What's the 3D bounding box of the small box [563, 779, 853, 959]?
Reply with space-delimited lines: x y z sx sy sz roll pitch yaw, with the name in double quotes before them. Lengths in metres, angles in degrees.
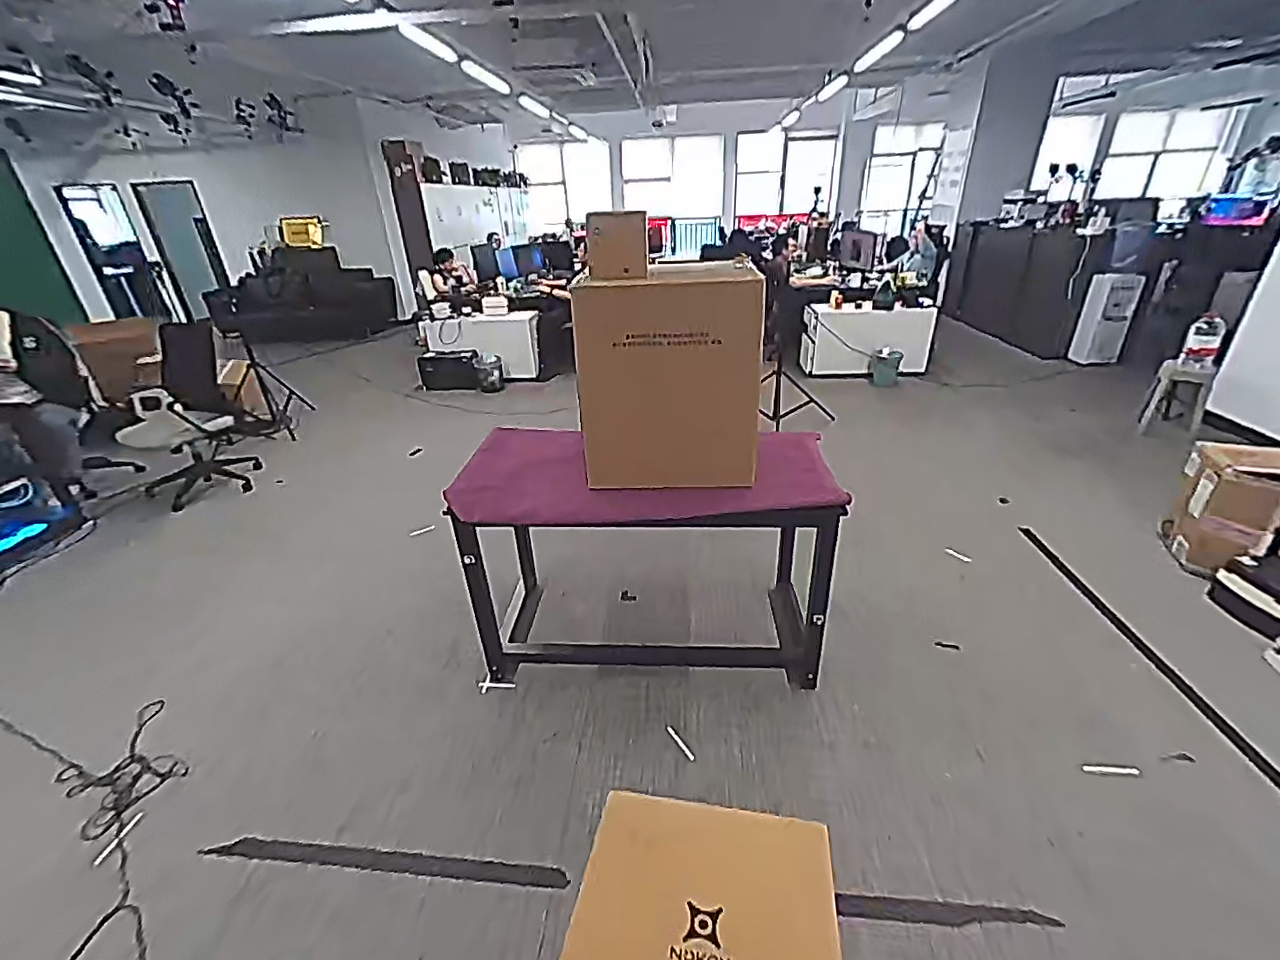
"small box" 0.046 0.342 0.357 0.168 0.176 0.179 1 21 11
